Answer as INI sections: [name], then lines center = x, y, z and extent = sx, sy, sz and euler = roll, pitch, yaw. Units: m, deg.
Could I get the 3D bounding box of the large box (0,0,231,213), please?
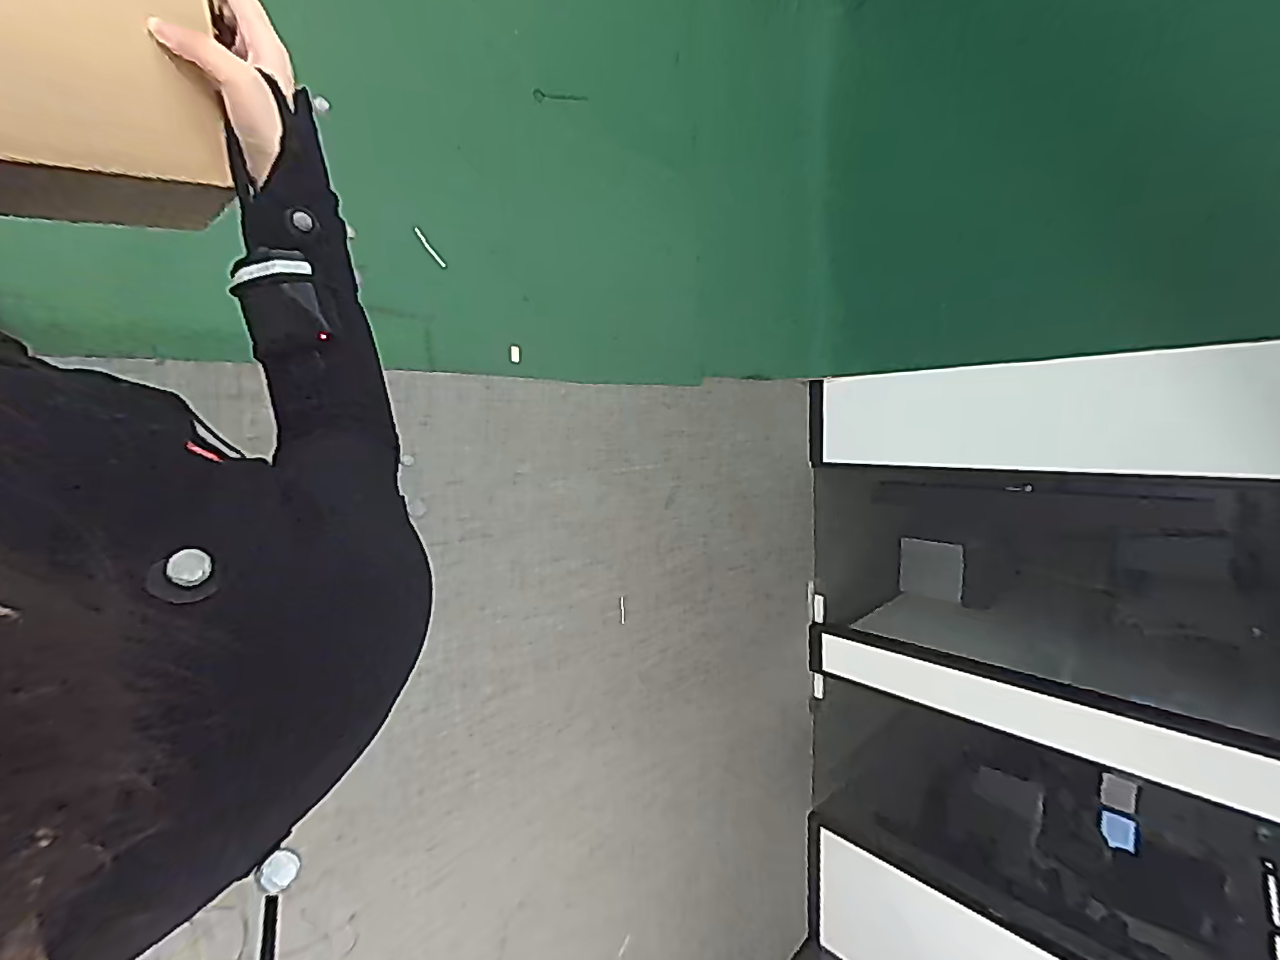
[large box]
center = -0.547, -0.363, 0.337
extent = 0.408, 0.320, 0.320
euler = -15, 113, -39
